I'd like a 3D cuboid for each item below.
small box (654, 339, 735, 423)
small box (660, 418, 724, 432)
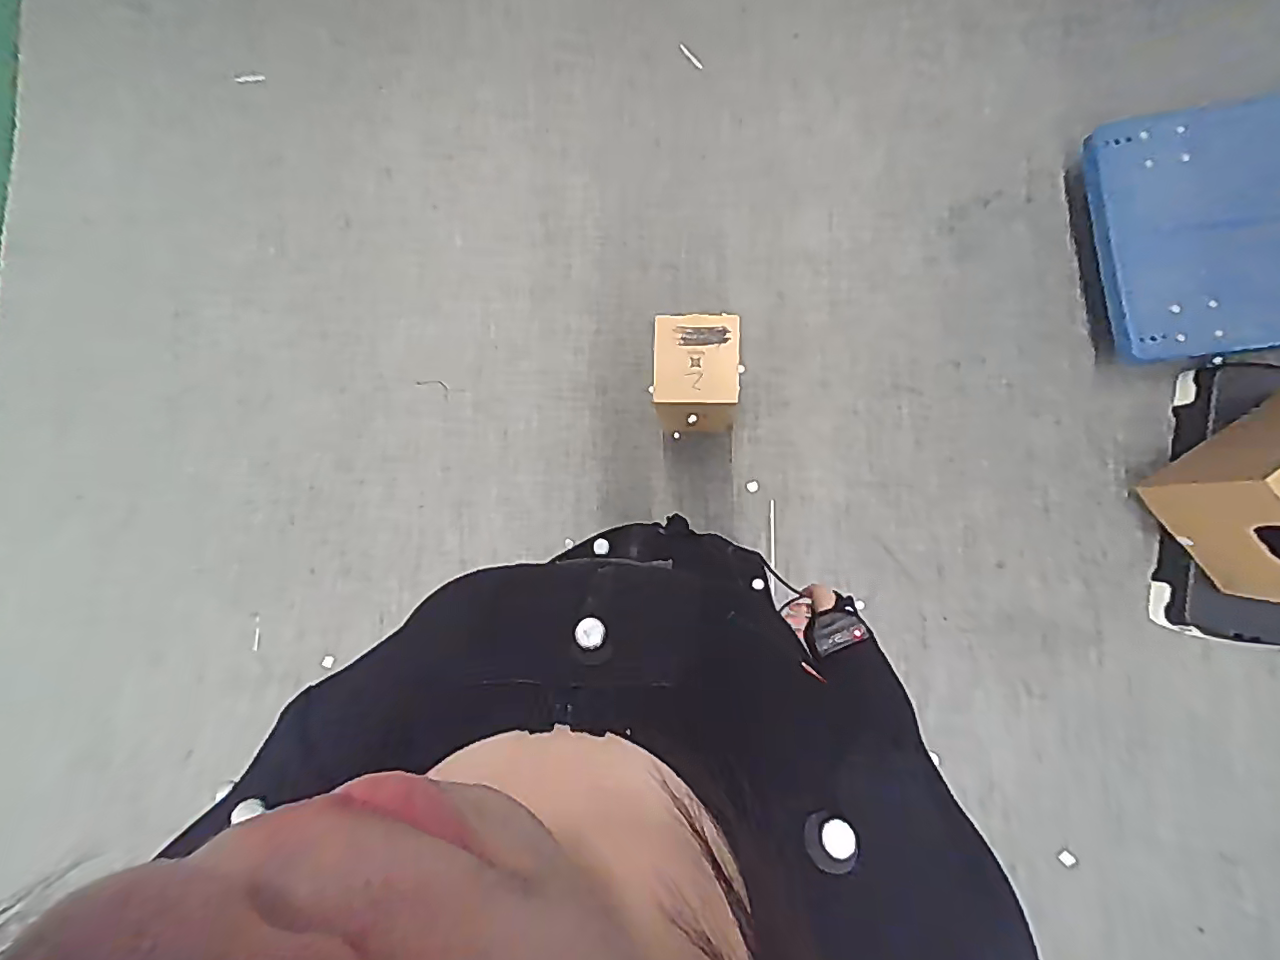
[{"bbox_3d":[0.130,-0.229,1.279,0.179,0.176,0.168,2,88,5],"label":"small box"},{"bbox_3d":[0.144,-0.226,1.443,0.168,0.176,0.179,1,86,6],"label":"small box"}]
